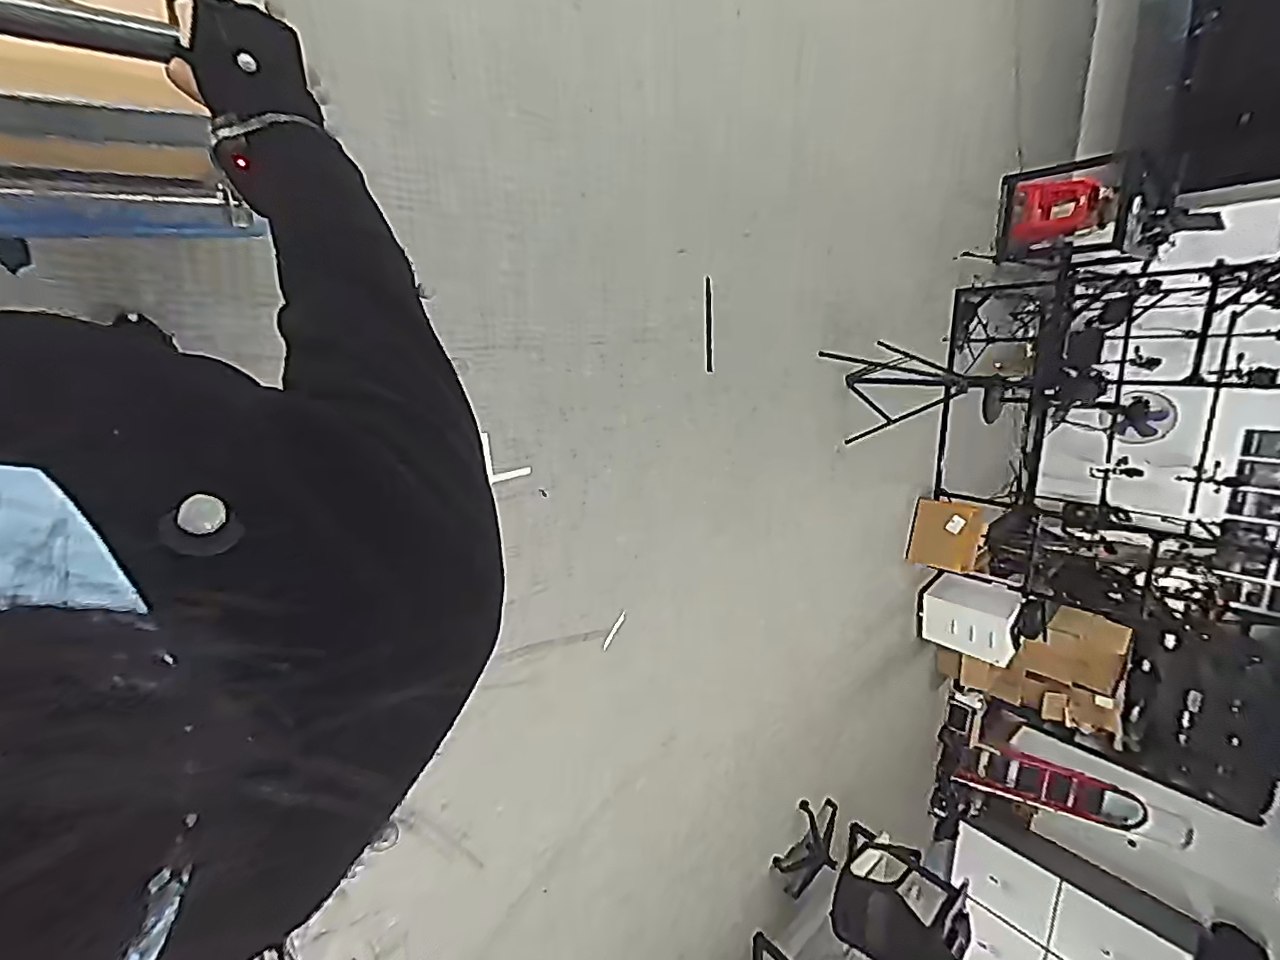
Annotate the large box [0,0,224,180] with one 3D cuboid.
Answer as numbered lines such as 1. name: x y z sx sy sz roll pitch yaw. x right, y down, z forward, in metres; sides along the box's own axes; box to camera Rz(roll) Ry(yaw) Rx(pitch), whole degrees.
1. large box: -0.841 -0.604 0.695 0.408 0.320 0.320 -19 113 -39
